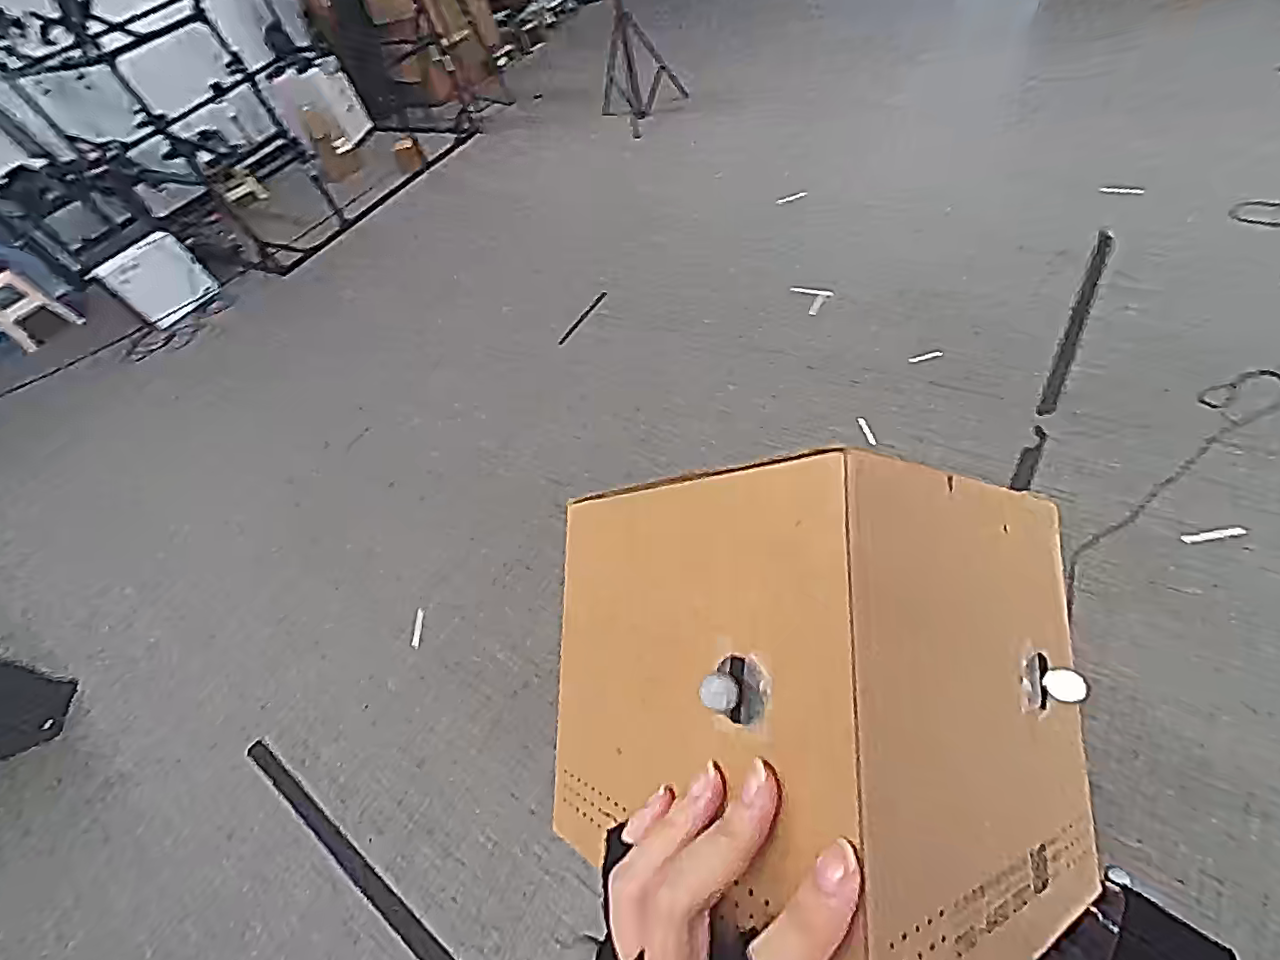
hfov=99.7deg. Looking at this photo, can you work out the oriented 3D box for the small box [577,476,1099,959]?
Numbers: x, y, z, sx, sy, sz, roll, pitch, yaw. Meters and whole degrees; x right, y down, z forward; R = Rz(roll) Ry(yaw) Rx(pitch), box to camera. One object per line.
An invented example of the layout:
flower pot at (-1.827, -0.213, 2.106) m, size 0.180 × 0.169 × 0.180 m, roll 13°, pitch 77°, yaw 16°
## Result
small box at (0.082, 0.099, 0.259) m, size 0.179 × 0.168 × 0.176 m, roll -13°, pitch 72°, yaw 54°
